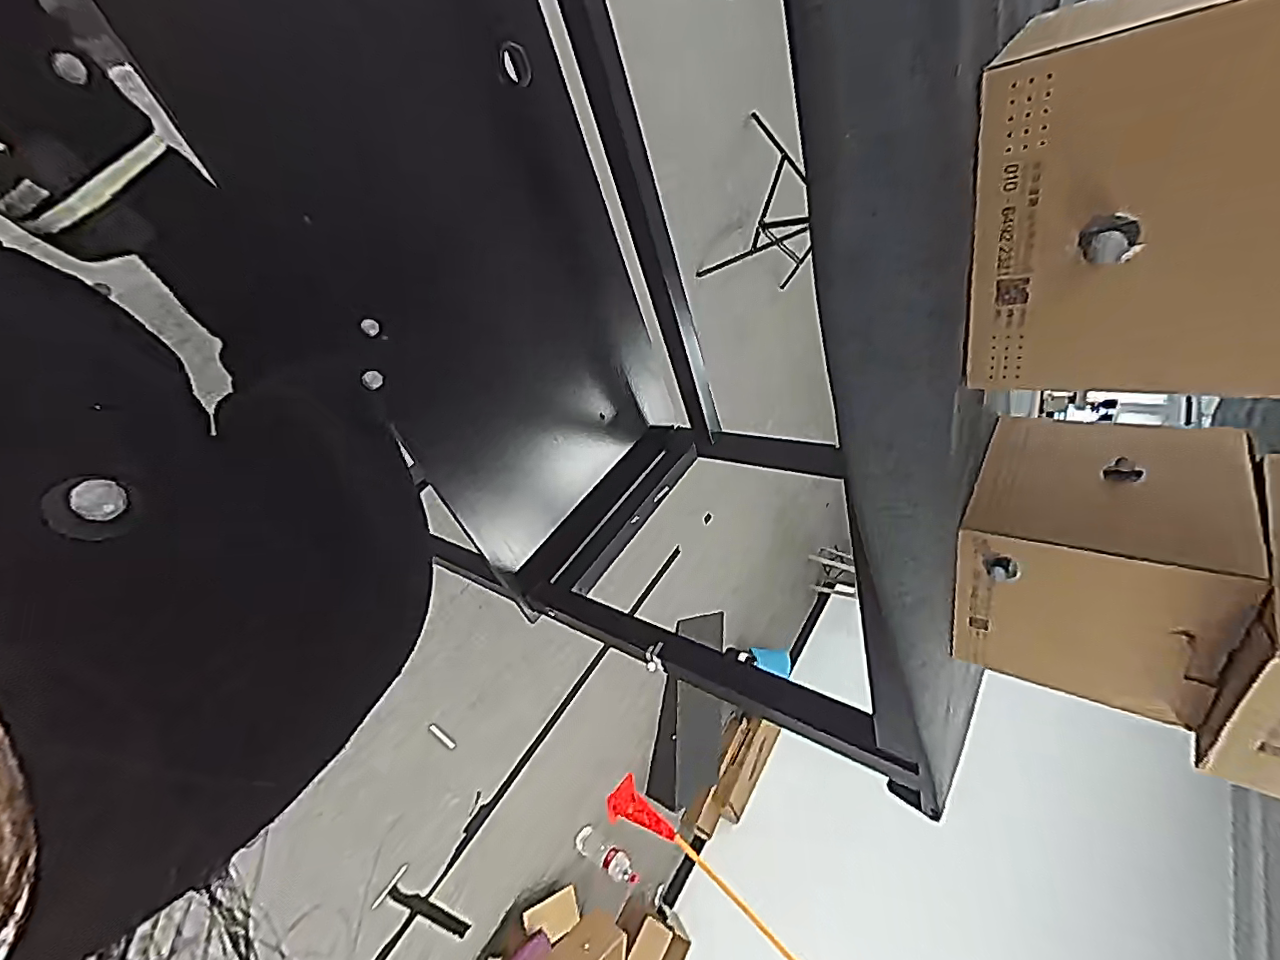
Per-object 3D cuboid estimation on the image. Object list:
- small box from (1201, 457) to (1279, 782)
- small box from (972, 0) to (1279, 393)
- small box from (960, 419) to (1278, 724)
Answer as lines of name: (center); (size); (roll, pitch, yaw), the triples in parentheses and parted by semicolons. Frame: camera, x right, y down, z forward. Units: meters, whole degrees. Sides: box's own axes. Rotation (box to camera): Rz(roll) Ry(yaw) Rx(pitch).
small box: (0.495, 0.105, 0.347); (0.179, 0.176, 0.168); (-52, 136, -32)
small box: (0.294, -0.163, 0.290); (0.179, 0.176, 0.168); (-49, 133, -35)
small box: (0.386, 0.062, 0.464); (0.179, 0.176, 0.168); (-46, 132, -36)
